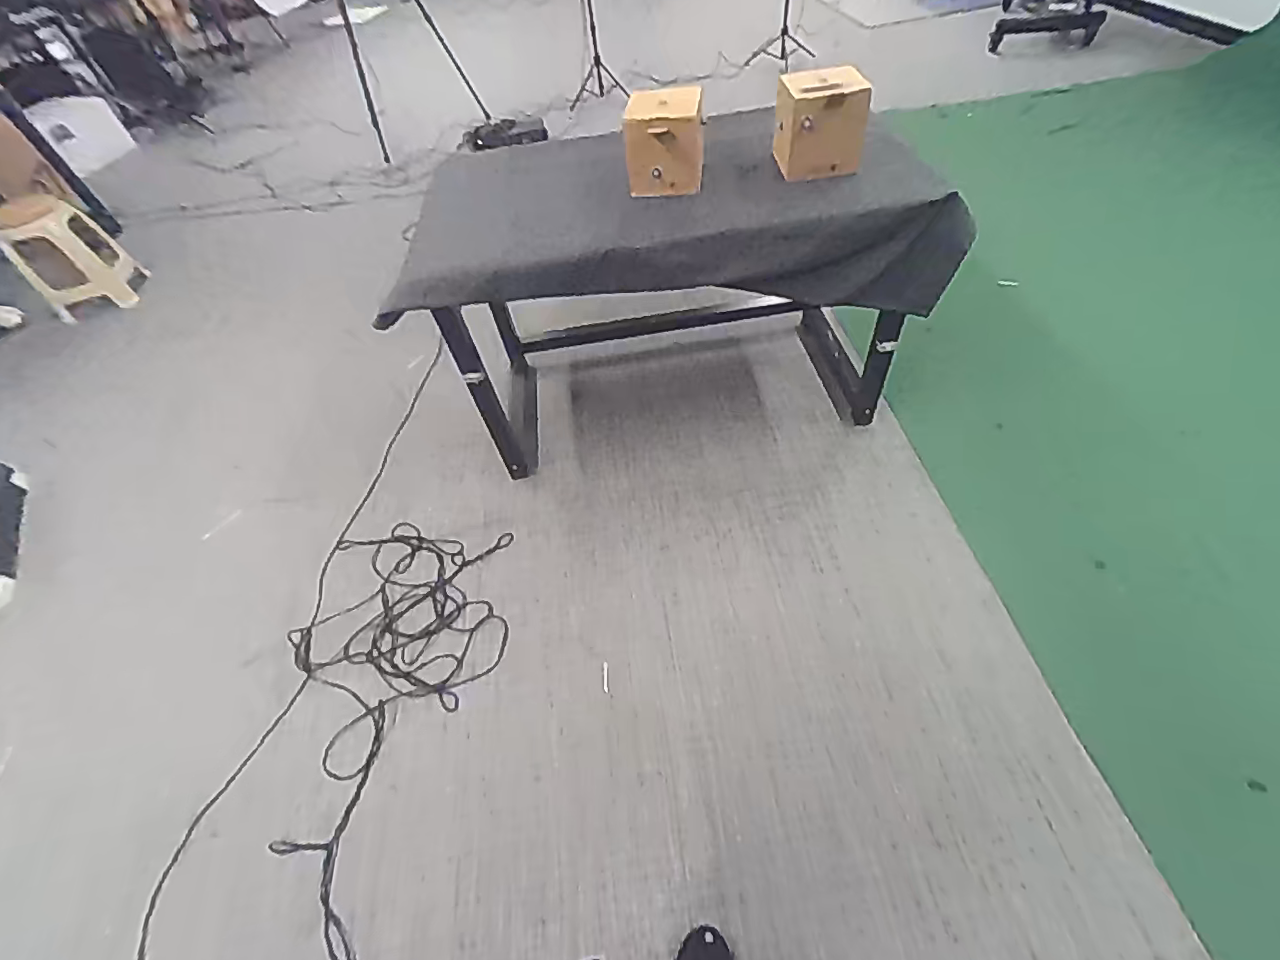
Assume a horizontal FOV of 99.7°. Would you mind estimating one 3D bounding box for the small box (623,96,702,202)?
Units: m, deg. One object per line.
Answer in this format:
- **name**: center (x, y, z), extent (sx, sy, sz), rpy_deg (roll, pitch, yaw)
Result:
- **small box**: center (0.059, -0.784, 1.285), extent (0.168, 0.176, 0.179), rpy_deg (2, 52, 9)
